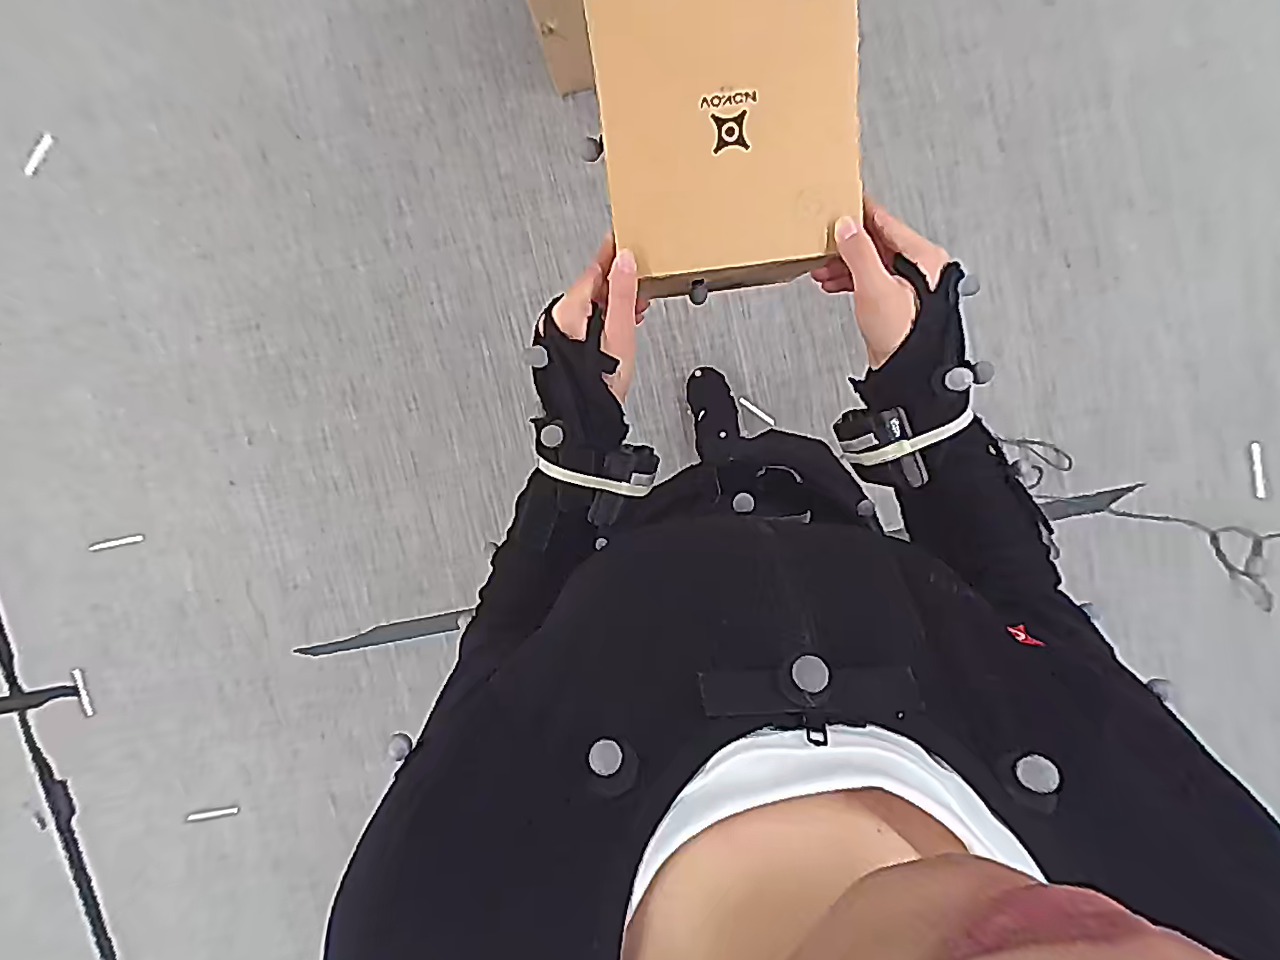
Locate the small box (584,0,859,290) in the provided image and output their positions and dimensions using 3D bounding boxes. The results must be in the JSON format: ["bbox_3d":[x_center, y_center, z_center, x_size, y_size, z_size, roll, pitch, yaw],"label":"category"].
[{"bbox_3d":[0.056,-0.250,0.419,0.168,0.176,0.179,-7,102,2],"label":"small box"}]
